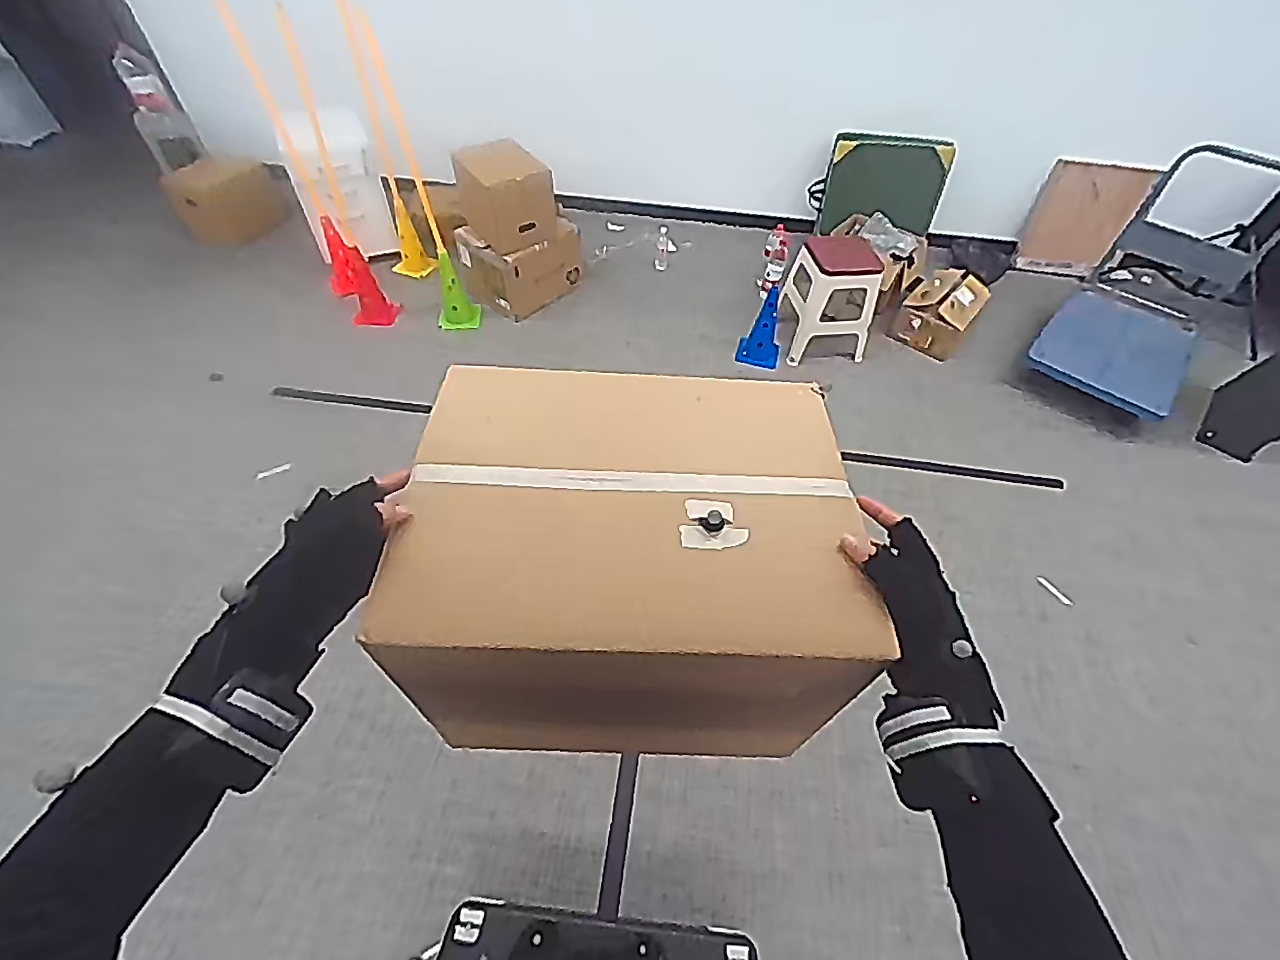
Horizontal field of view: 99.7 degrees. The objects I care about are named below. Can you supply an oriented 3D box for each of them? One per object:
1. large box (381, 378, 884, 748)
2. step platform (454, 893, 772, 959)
[{"bbox_3d":[-0.012,0.106,0.627,0.408,0.320,0.320,3,51,-3],"label":"large box"},{"bbox_3d":[-0.060,1.088,1.140,0.684,0.204,0.286,7,51,1],"label":"step platform"}]
